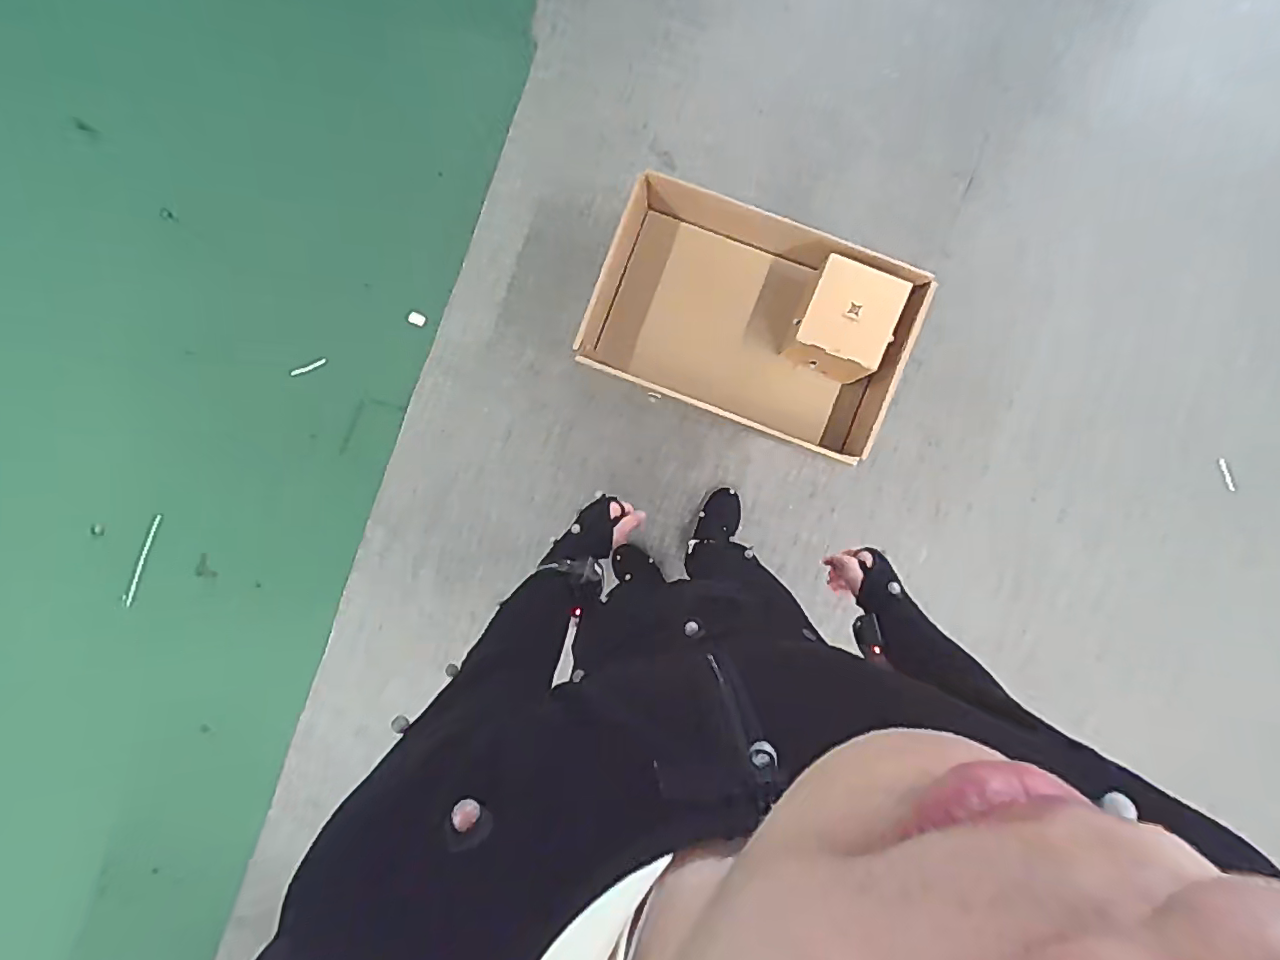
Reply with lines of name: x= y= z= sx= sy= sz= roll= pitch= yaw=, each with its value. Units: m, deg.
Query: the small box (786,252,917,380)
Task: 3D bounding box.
small box: x=0.411 y=-0.319 z=1.086 sx=0.168 sy=0.176 sz=0.179 roll=22 pitch=93 yaw=2
